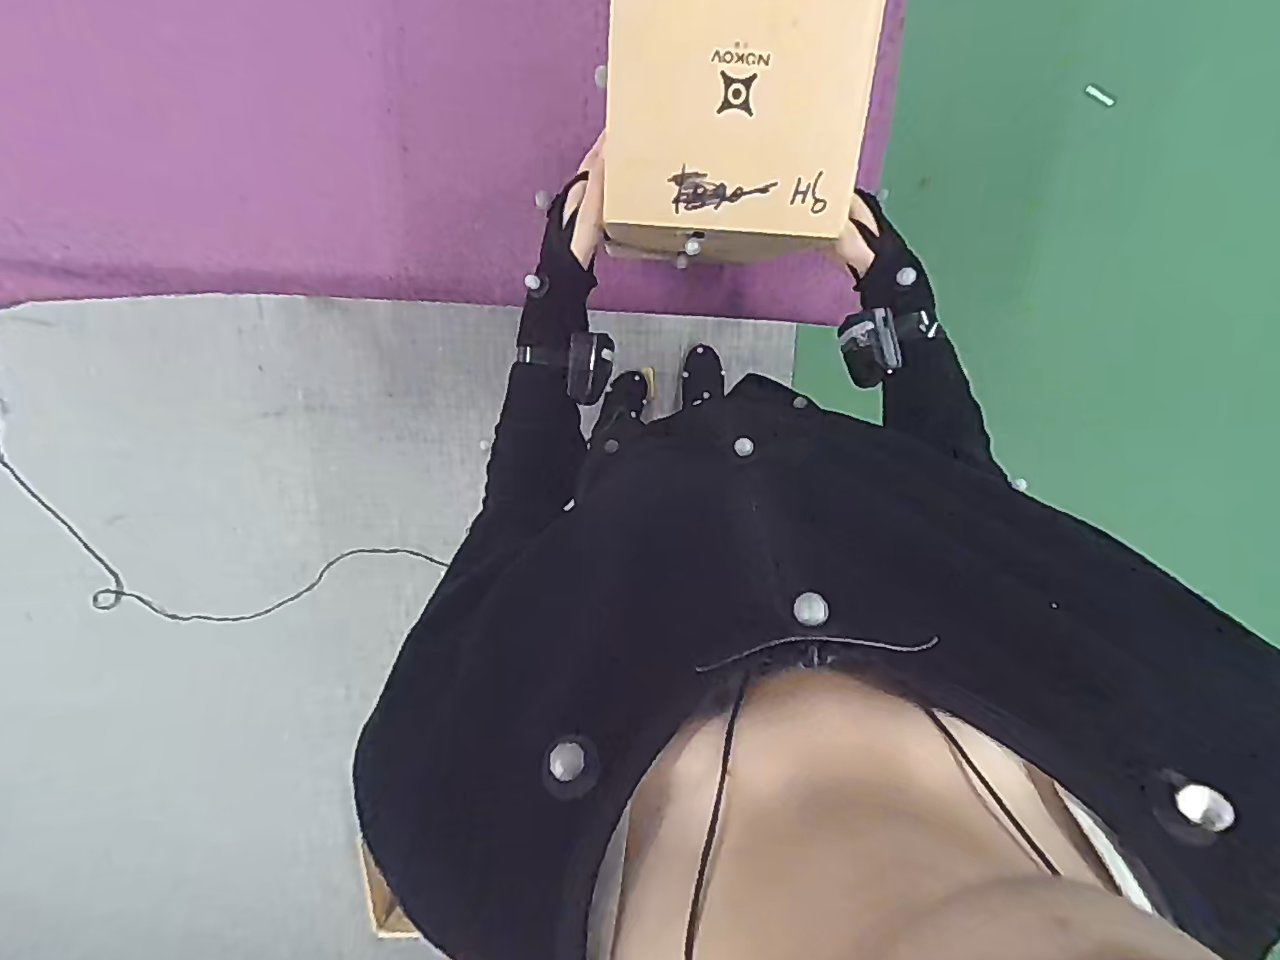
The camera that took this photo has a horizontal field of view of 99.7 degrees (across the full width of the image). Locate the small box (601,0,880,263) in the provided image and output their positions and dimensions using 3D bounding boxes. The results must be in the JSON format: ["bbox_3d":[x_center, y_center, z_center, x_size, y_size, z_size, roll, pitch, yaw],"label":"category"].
[{"bbox_3d":[0.061,-0.273,0.416,0.168,0.176,0.179,3,108,0],"label":"small box"}]
